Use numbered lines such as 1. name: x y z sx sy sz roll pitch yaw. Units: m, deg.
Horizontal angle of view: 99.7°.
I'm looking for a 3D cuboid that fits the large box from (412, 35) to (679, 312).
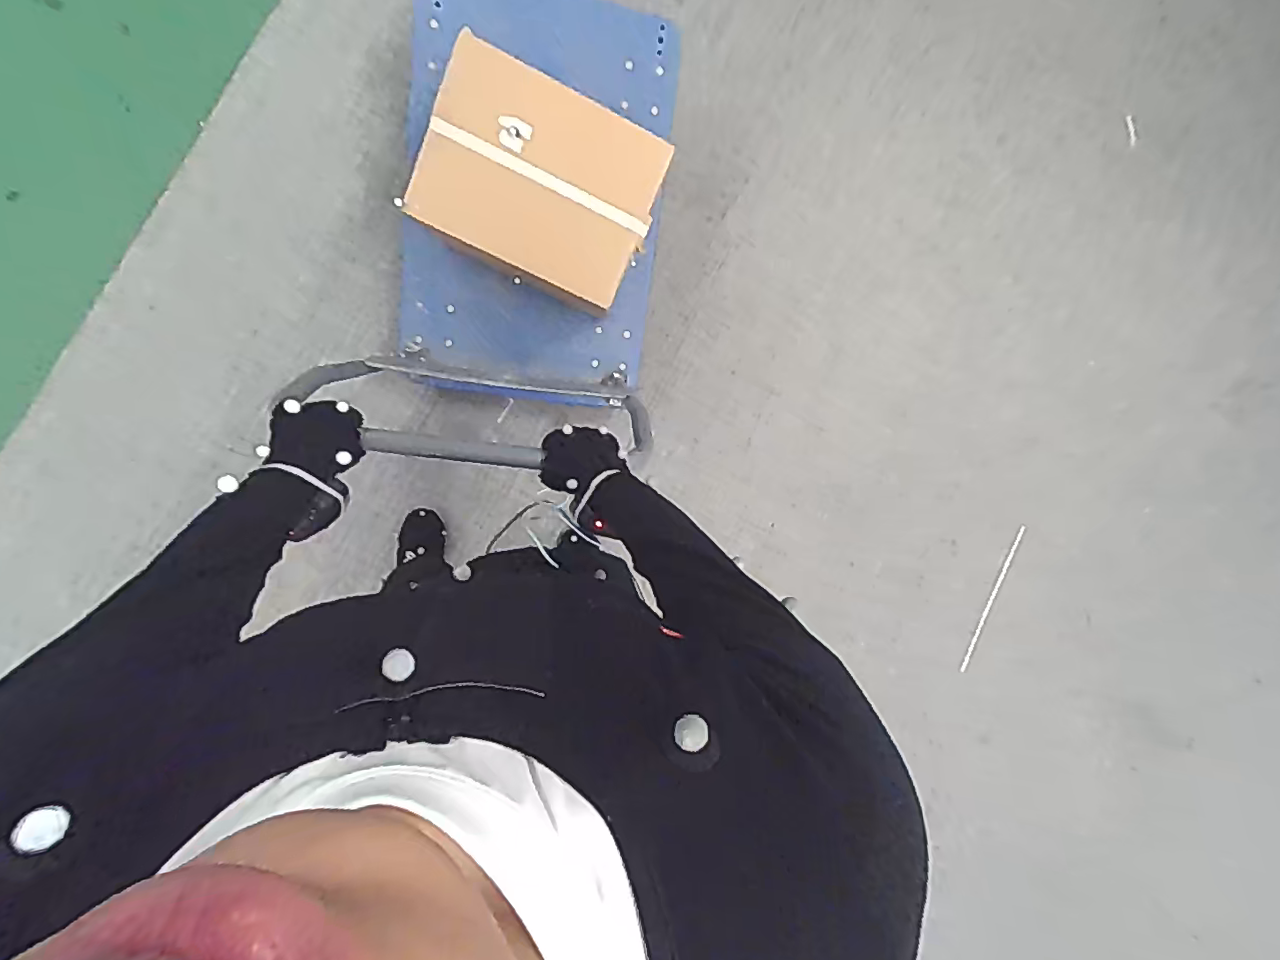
1. large box: -0.175 -0.575 1.108 0.408 0.320 0.320 23 100 -9
